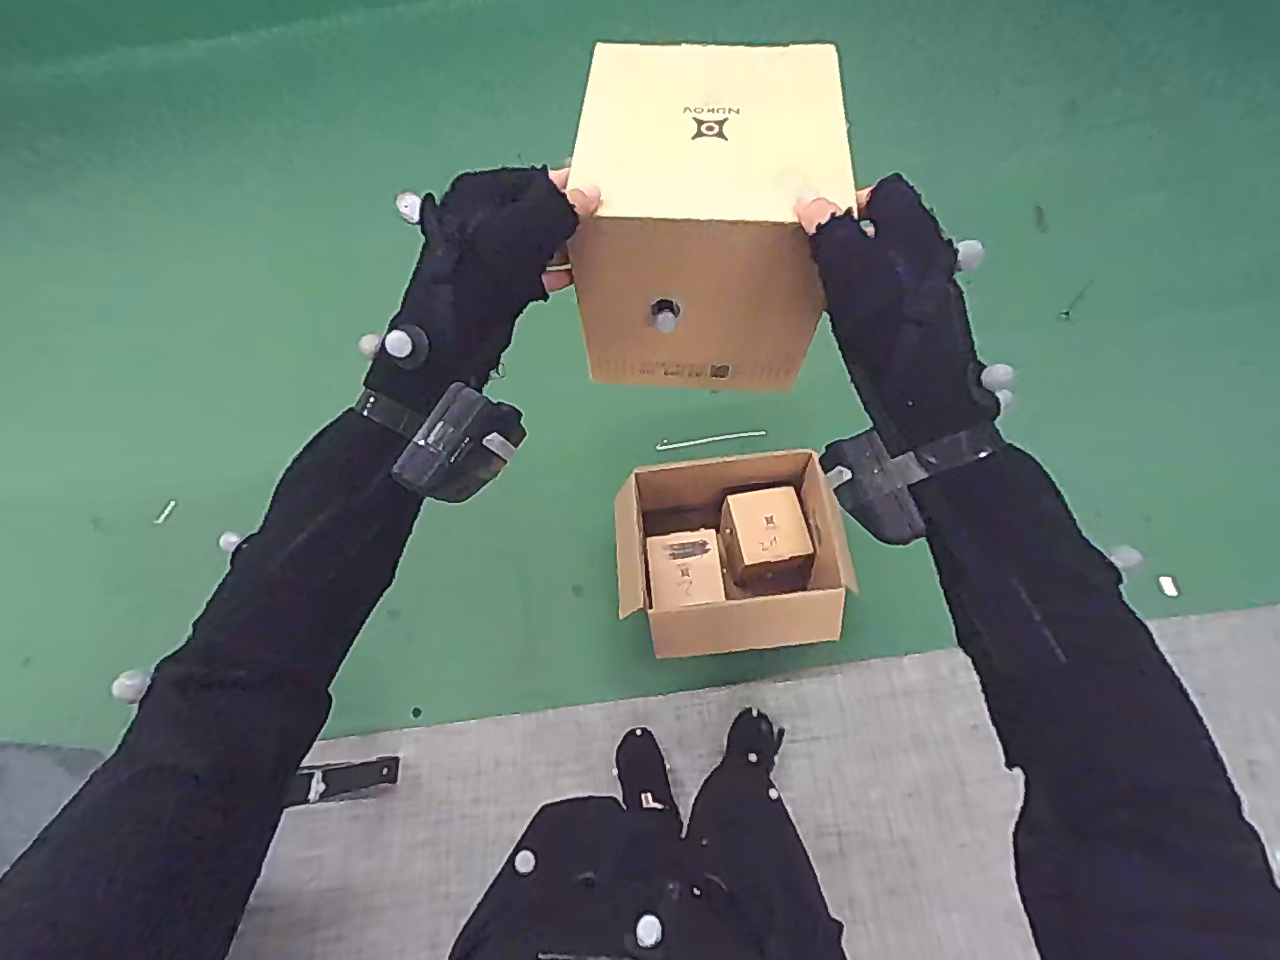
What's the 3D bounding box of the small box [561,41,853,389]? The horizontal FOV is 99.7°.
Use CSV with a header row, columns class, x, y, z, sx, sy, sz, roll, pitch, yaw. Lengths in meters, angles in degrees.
class,x,y,z,sx,sy,sz,roll,pitch,yaw
small box,0.046,-0.185,0.405,0.168,0.176,0.179,3,64,4
